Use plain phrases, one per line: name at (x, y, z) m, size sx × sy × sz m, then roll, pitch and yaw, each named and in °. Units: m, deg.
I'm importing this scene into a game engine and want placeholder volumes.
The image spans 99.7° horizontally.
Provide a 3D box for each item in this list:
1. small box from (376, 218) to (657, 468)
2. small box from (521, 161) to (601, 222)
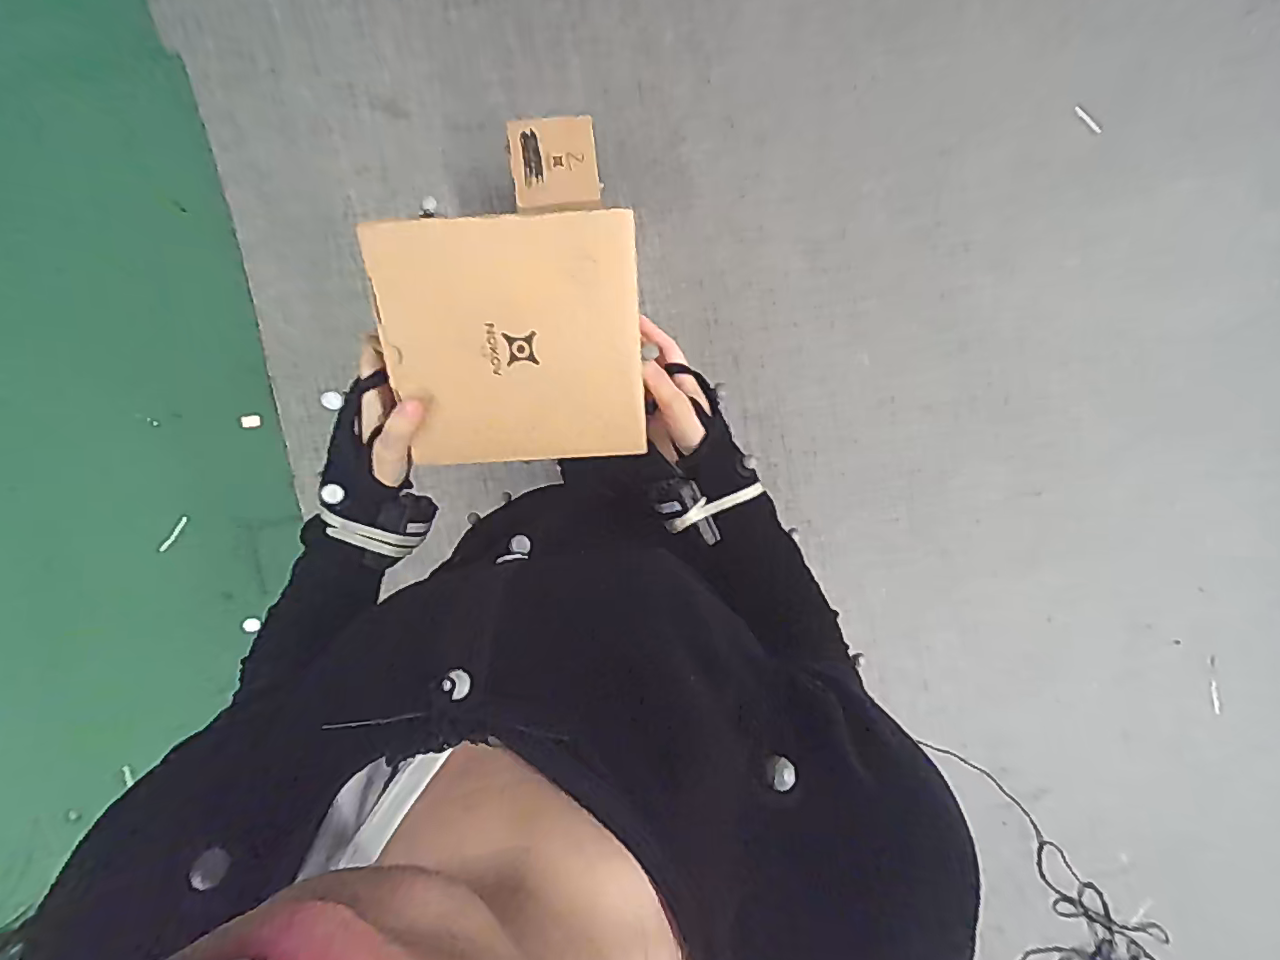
small box at (-0.080, -0.122, 0.448) m, size 0.179 × 0.176 × 0.168 m, roll -3°, pitch 116°, yaw 1°
small box at (-0.188, -0.666, 1.343) m, size 0.179 × 0.176 × 0.168 m, roll -5°, pitch 96°, yaw -2°
